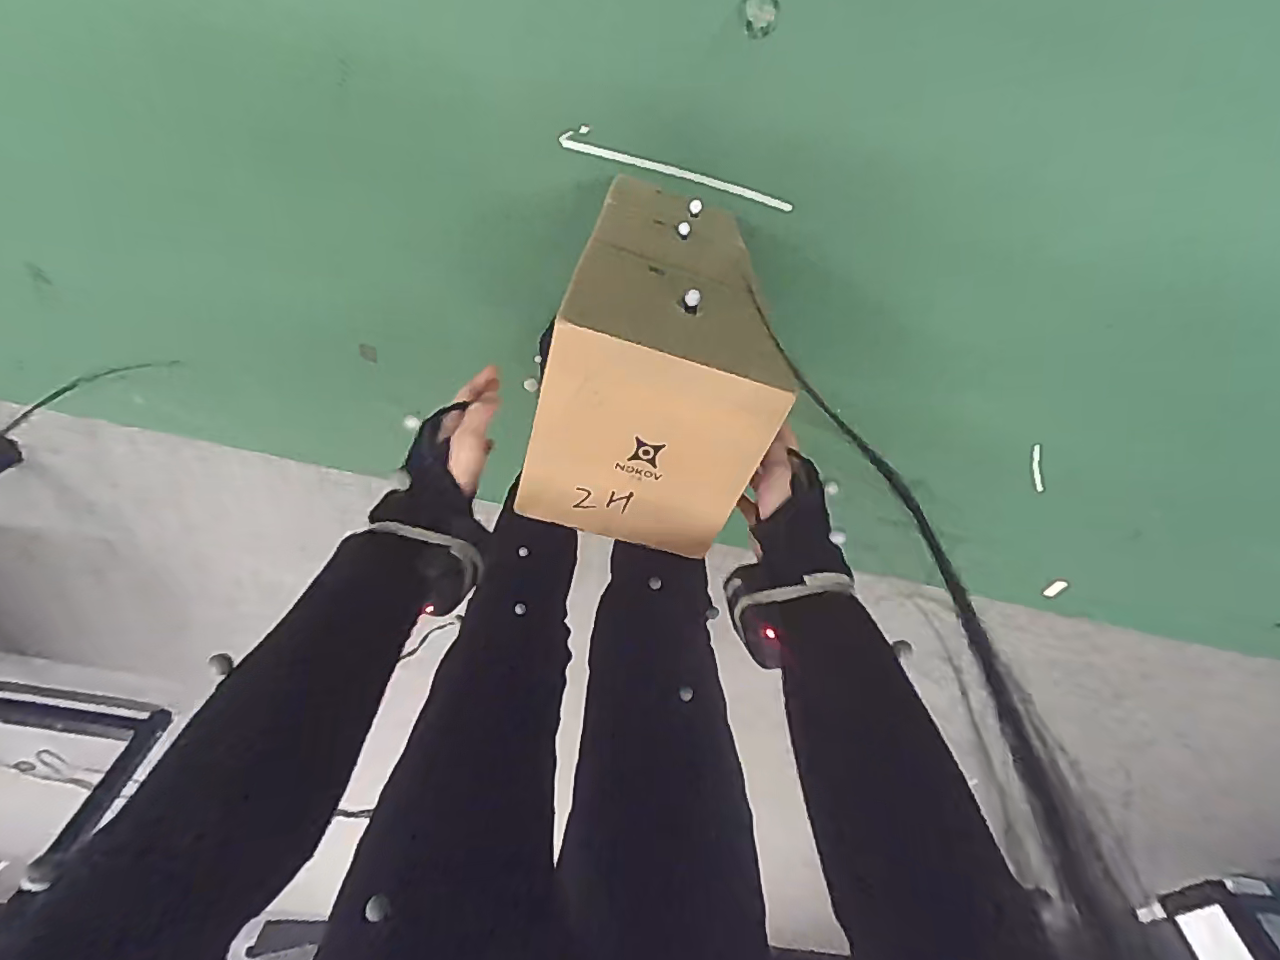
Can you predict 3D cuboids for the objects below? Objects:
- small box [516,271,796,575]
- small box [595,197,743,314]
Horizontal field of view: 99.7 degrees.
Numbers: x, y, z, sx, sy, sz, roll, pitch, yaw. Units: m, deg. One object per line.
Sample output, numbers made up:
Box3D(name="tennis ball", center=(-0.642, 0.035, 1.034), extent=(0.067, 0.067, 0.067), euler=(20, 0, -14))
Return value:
Box3D(name="small box", center=(0.005, -0.053, 0.462), extent=(0.168, 0.176, 0.179), euler=(16, 128, -9))
Box3D(name="small box", center=(0.019, -0.253, 0.722), extent=(0.168, 0.176, 0.179), euler=(14, 128, -8))
